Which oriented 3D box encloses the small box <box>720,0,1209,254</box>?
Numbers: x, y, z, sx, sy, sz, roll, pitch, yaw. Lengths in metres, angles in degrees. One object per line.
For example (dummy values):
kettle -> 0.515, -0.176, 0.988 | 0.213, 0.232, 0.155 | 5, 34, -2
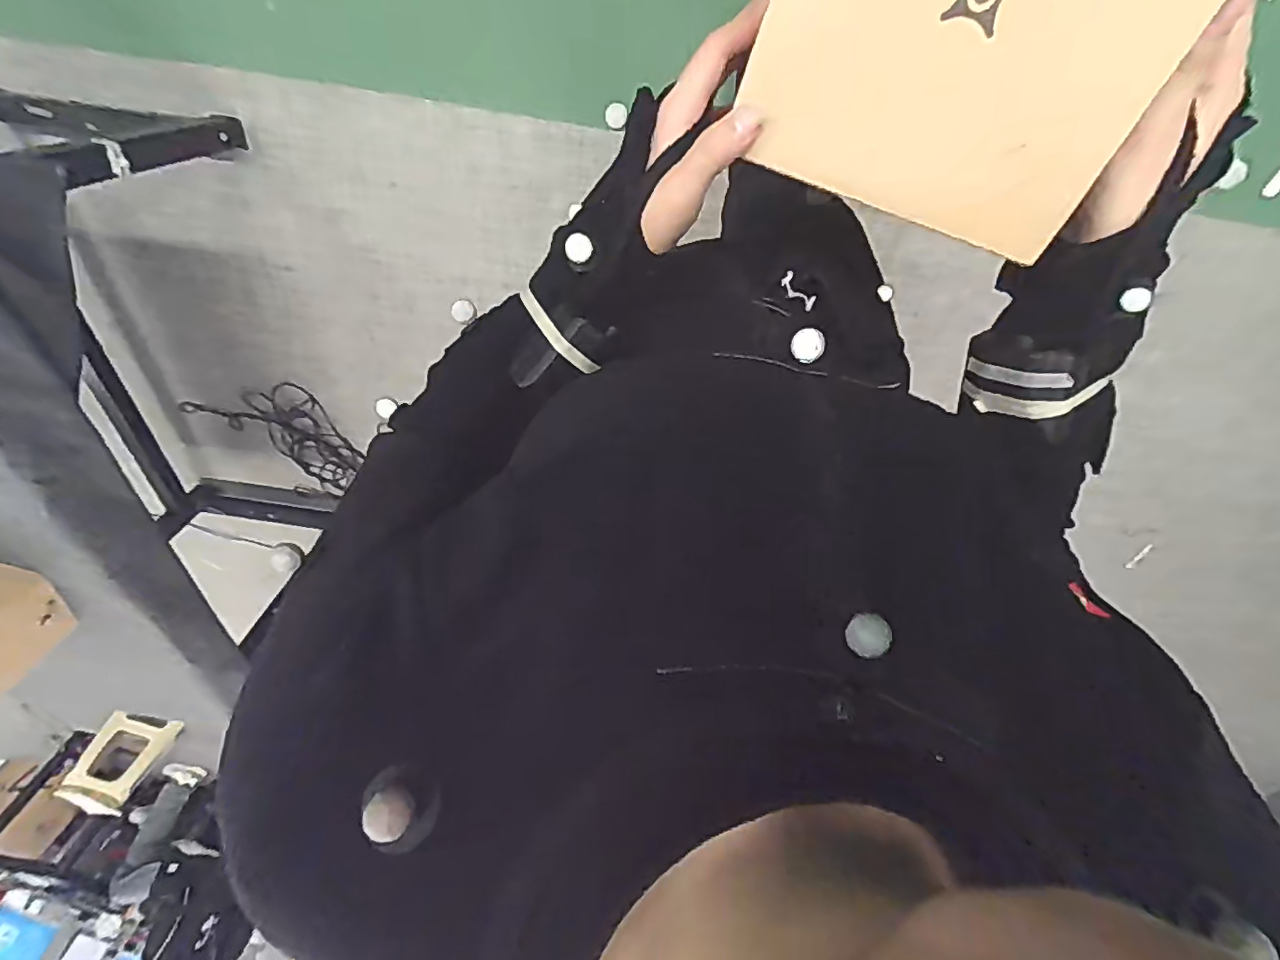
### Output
small box -> 0.158, -0.248, 0.280 | 0.168, 0.176, 0.179 | 21, 126, 1
